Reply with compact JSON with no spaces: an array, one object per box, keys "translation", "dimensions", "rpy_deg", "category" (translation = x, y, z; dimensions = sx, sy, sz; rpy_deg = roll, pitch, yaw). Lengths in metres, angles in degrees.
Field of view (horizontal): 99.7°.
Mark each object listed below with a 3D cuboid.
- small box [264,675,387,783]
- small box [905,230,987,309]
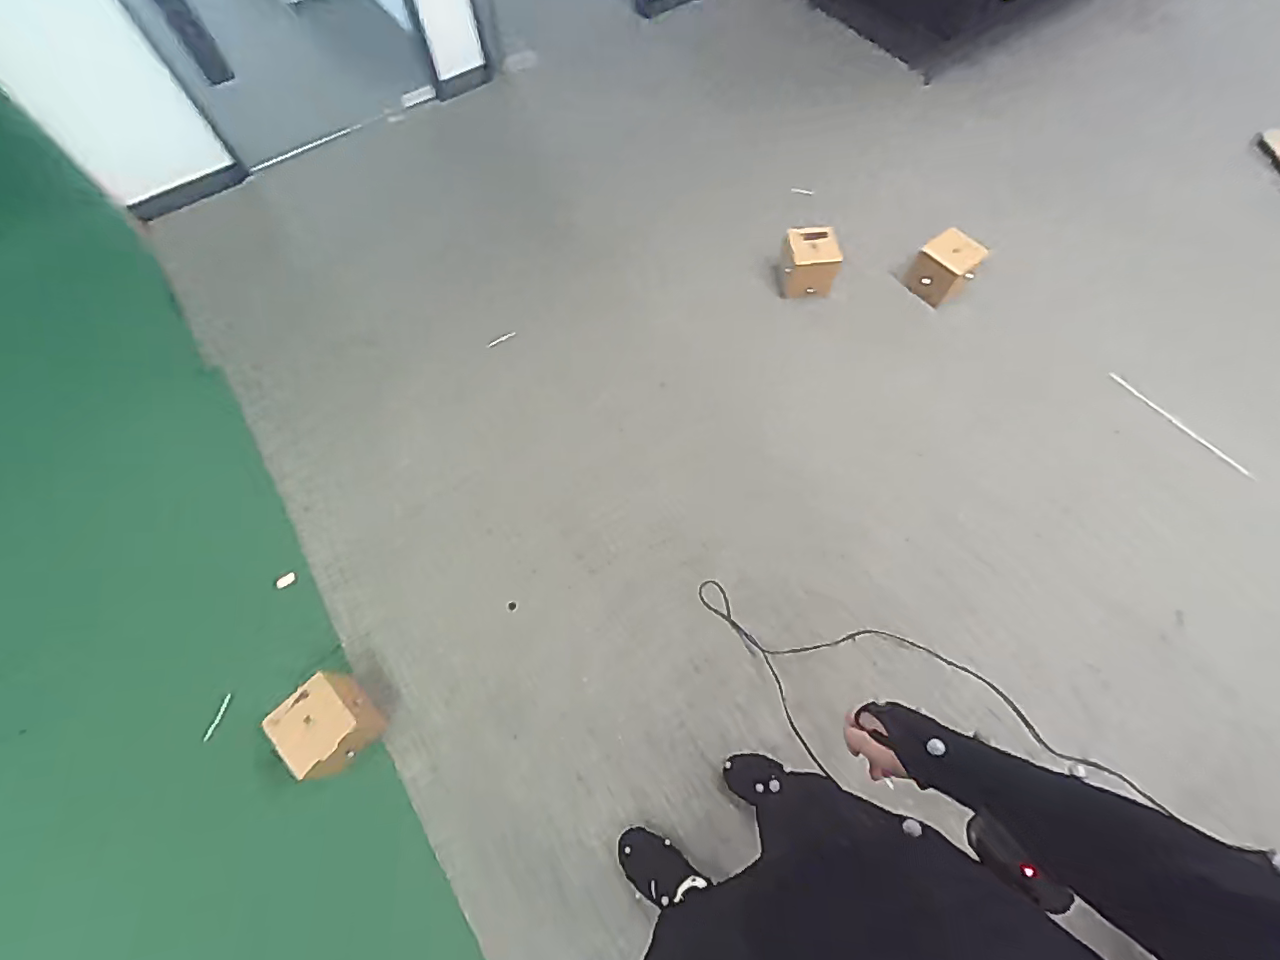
[{"translation":[-0.771,0.614,1.346],"dimensions":[0.179,0.176,0.168],"rpy_deg":[41,72,18],"category":"small box"},{"translation":[1.102,-0.760,1.969],"dimensions":[0.179,0.176,0.168],"rpy_deg":[-36,69,-15],"category":"small box"}]
